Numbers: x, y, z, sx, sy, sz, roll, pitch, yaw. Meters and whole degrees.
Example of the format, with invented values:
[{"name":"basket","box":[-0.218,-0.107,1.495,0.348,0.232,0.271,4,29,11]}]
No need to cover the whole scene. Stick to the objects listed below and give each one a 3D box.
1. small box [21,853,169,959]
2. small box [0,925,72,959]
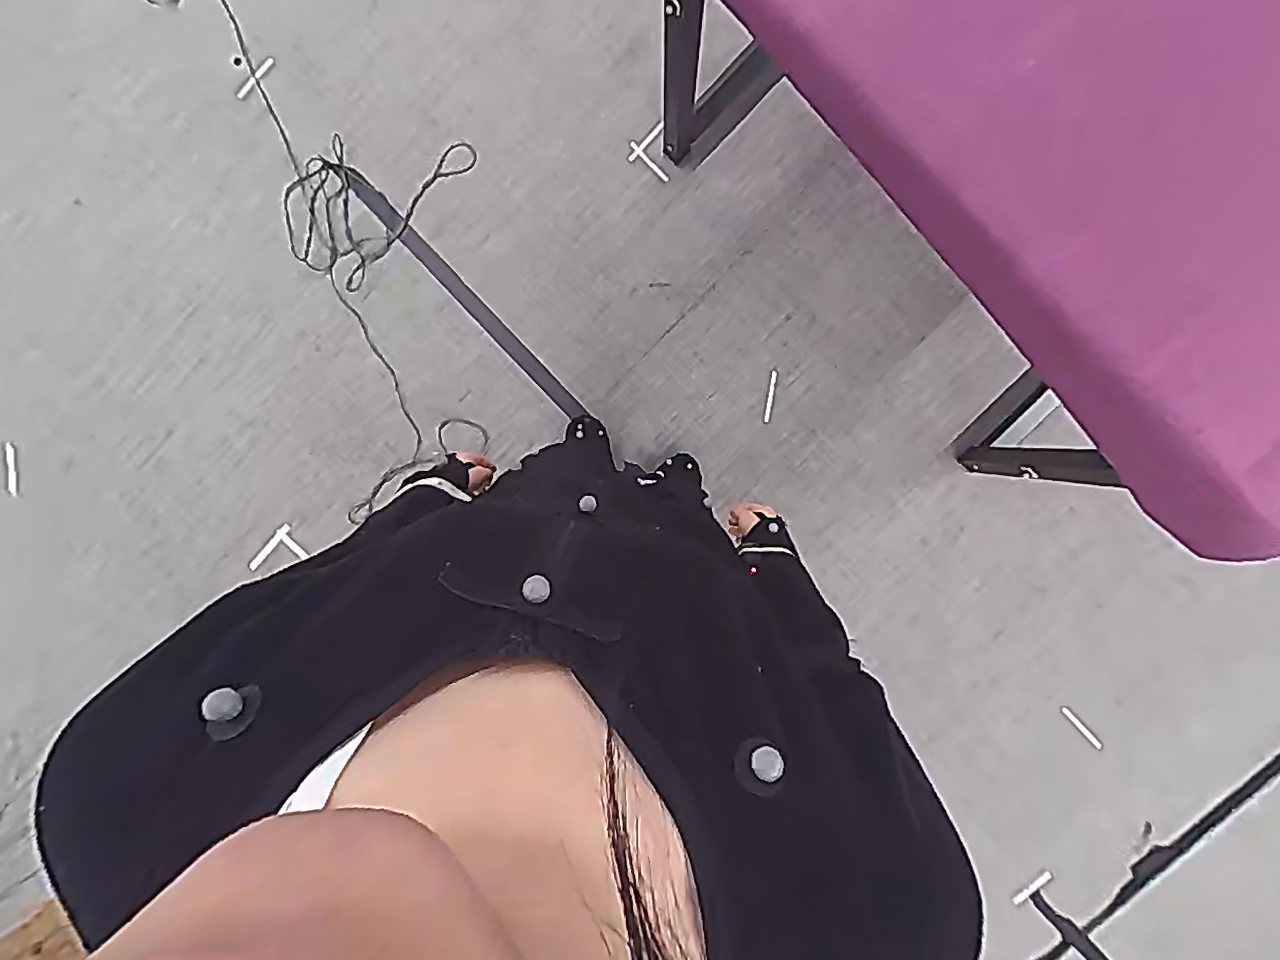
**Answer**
[{"name":"small box","box":[-1.097,0.898,1.069,0.168,0.176,0.179,41,95,0]},{"name":"small box","box":[-1.102,0.916,0.905,0.168,0.176,0.179,37,94,0]}]
